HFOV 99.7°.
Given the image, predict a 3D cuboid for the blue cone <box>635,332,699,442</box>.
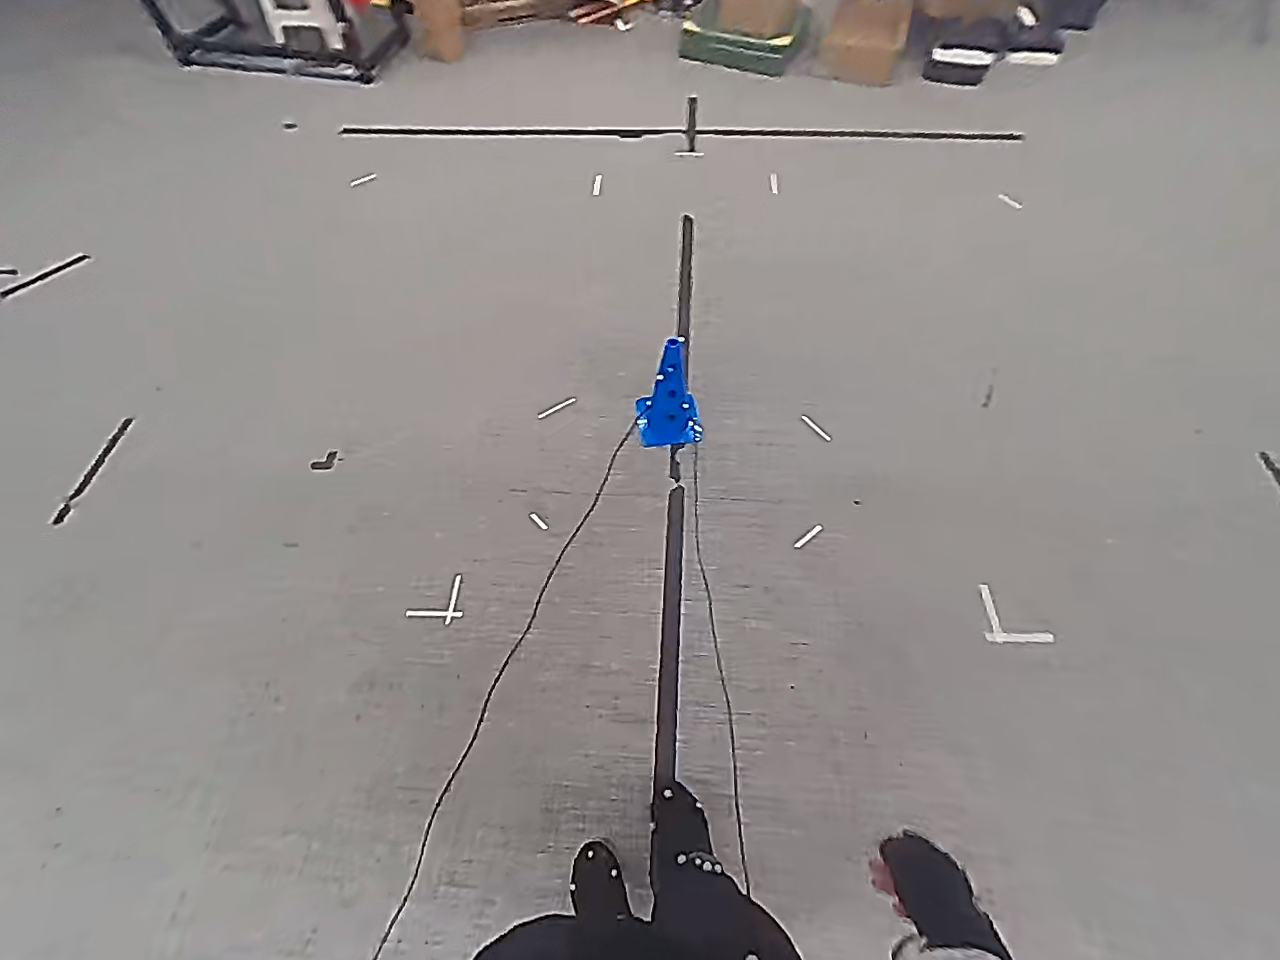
[{"bbox_3d":[0.085,-0.288,1.621,0.193,0.380,0.192,-9,60,-3],"label":"blue cone"}]
